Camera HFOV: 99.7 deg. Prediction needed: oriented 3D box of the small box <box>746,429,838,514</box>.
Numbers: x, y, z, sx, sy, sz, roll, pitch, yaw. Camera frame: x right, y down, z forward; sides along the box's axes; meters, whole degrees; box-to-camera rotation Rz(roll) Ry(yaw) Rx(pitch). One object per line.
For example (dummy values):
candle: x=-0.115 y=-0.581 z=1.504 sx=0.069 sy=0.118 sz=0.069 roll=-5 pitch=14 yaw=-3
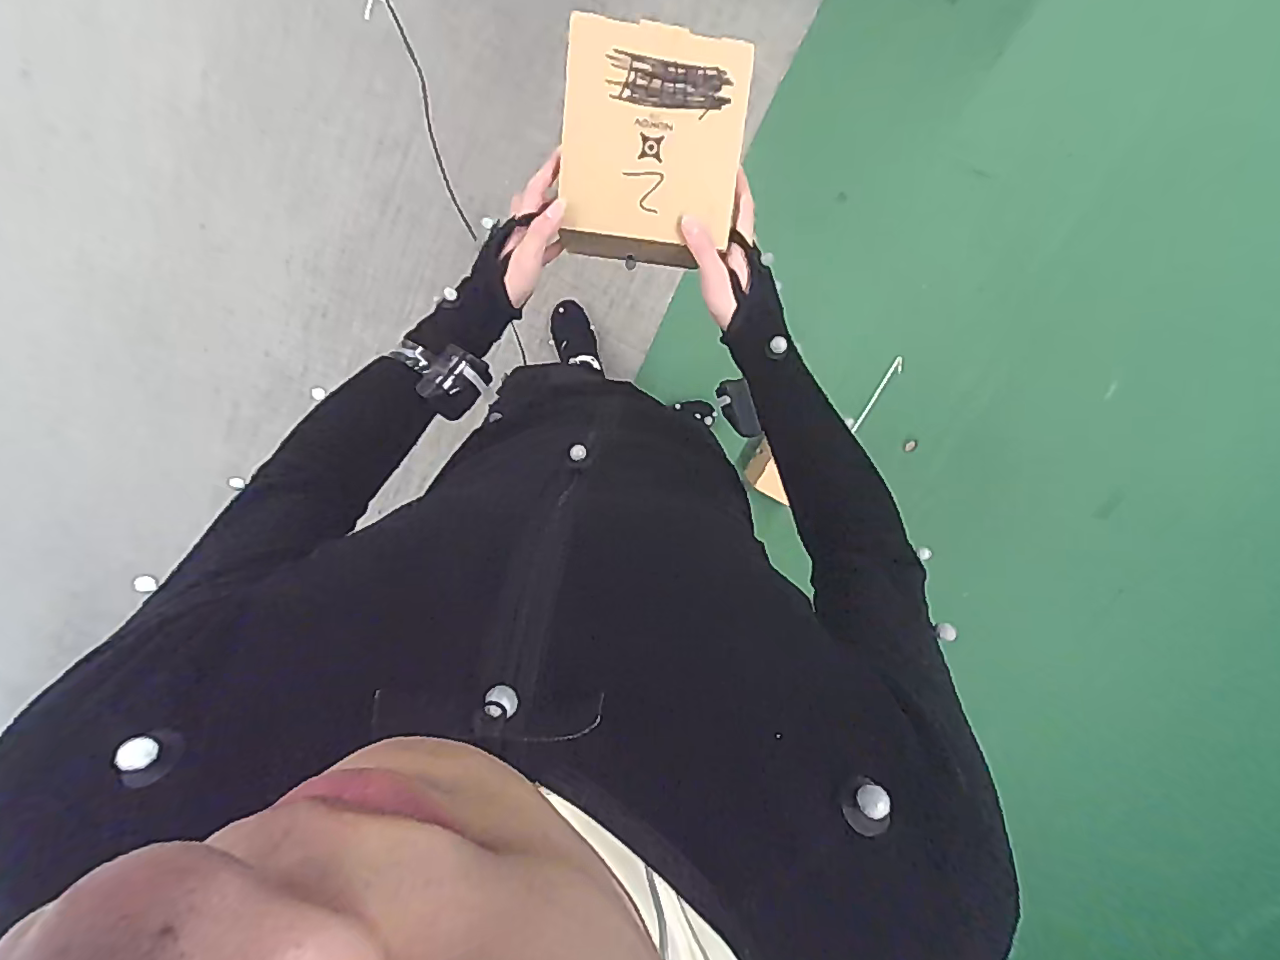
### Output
small box: x=0.427 y=-0.032 z=1.550 sx=0.179 sy=0.176 sz=0.168 roll=28 pitch=104 yaw=-7
